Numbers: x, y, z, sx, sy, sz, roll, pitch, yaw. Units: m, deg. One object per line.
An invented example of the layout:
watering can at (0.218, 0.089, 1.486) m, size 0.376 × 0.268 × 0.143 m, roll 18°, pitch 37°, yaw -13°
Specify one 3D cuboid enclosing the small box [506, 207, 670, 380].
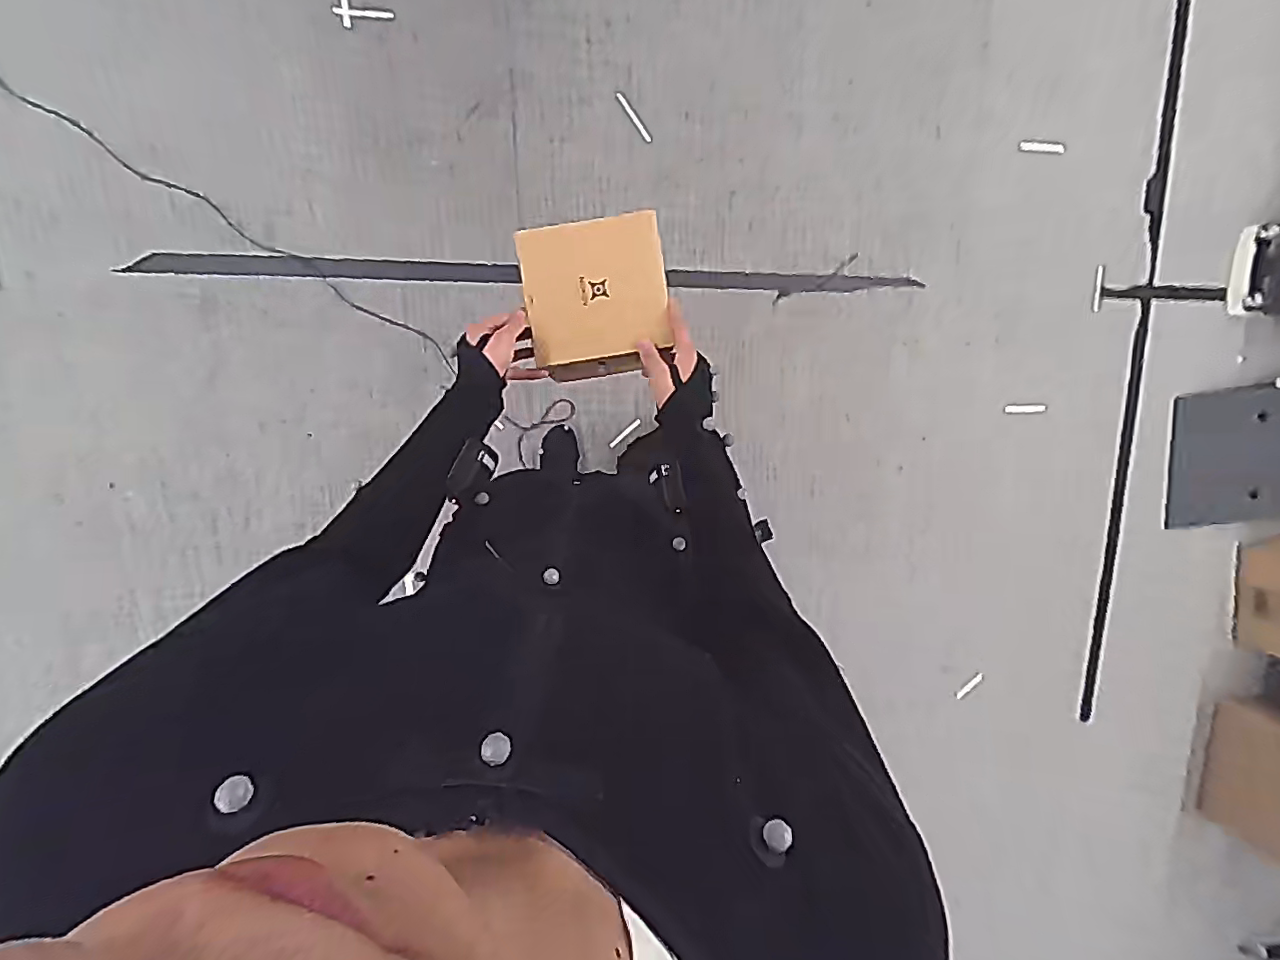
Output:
small box at (-0.061, -0.236, 0.725) m, size 0.179 × 0.176 × 0.168 m, roll -10°, pitch 94°, yaw 2°
